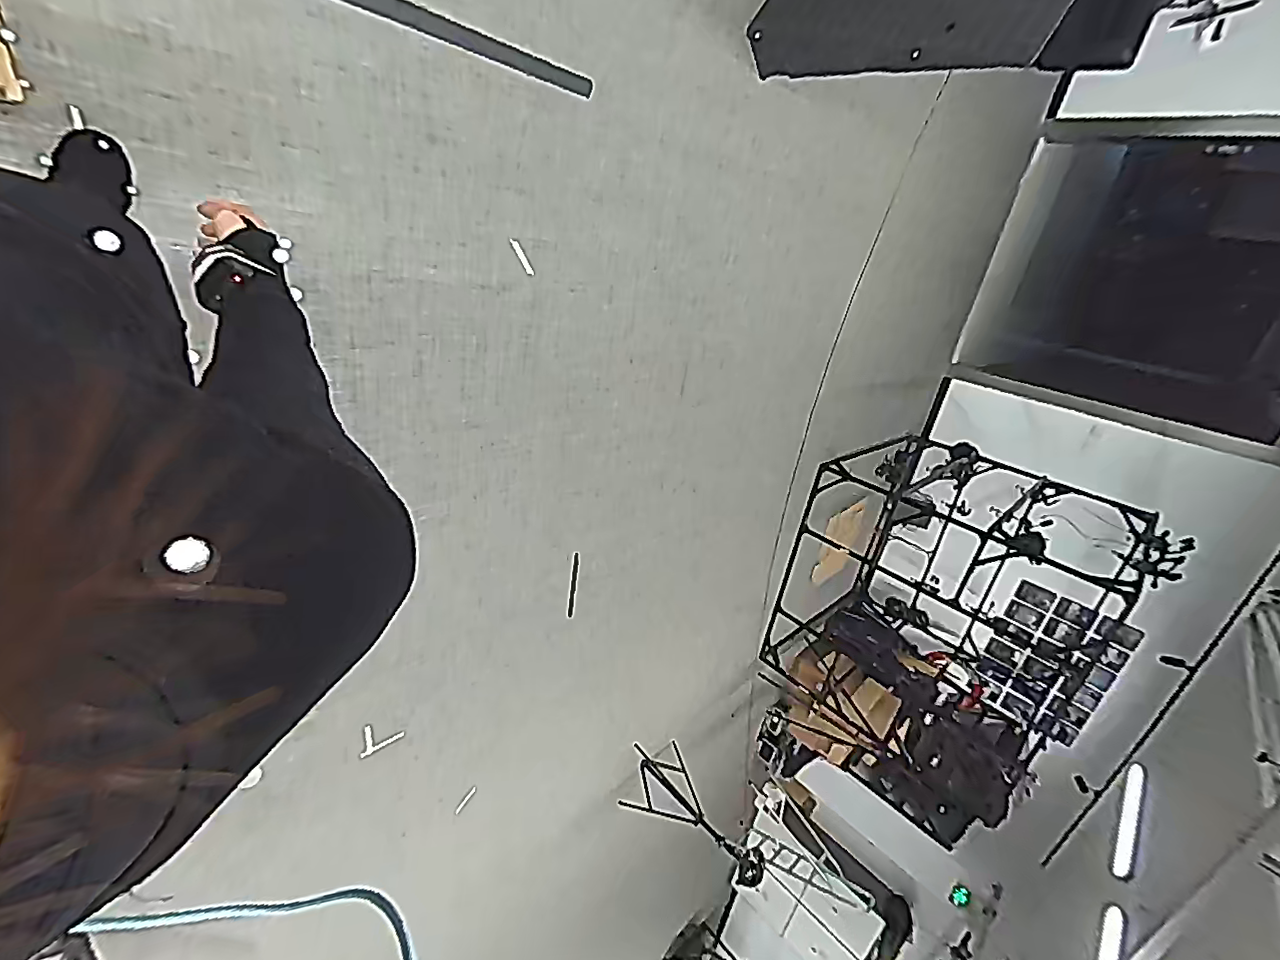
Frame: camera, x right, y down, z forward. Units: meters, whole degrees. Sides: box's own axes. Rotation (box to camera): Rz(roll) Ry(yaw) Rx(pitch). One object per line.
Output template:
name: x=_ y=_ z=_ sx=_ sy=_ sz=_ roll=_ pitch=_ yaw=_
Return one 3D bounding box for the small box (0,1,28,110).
small box: x=-1.109 y=-0.696 z=0.842 sx=0.179 sy=0.176 sz=0.168 roll=-15 pitch=124 yaw=-42

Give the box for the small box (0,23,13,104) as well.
small box: x=-0.997 y=-0.643 z=0.736 sx=0.168 sy=0.176 sz=0.179 roll=-10 pitch=122 yaw=-46
